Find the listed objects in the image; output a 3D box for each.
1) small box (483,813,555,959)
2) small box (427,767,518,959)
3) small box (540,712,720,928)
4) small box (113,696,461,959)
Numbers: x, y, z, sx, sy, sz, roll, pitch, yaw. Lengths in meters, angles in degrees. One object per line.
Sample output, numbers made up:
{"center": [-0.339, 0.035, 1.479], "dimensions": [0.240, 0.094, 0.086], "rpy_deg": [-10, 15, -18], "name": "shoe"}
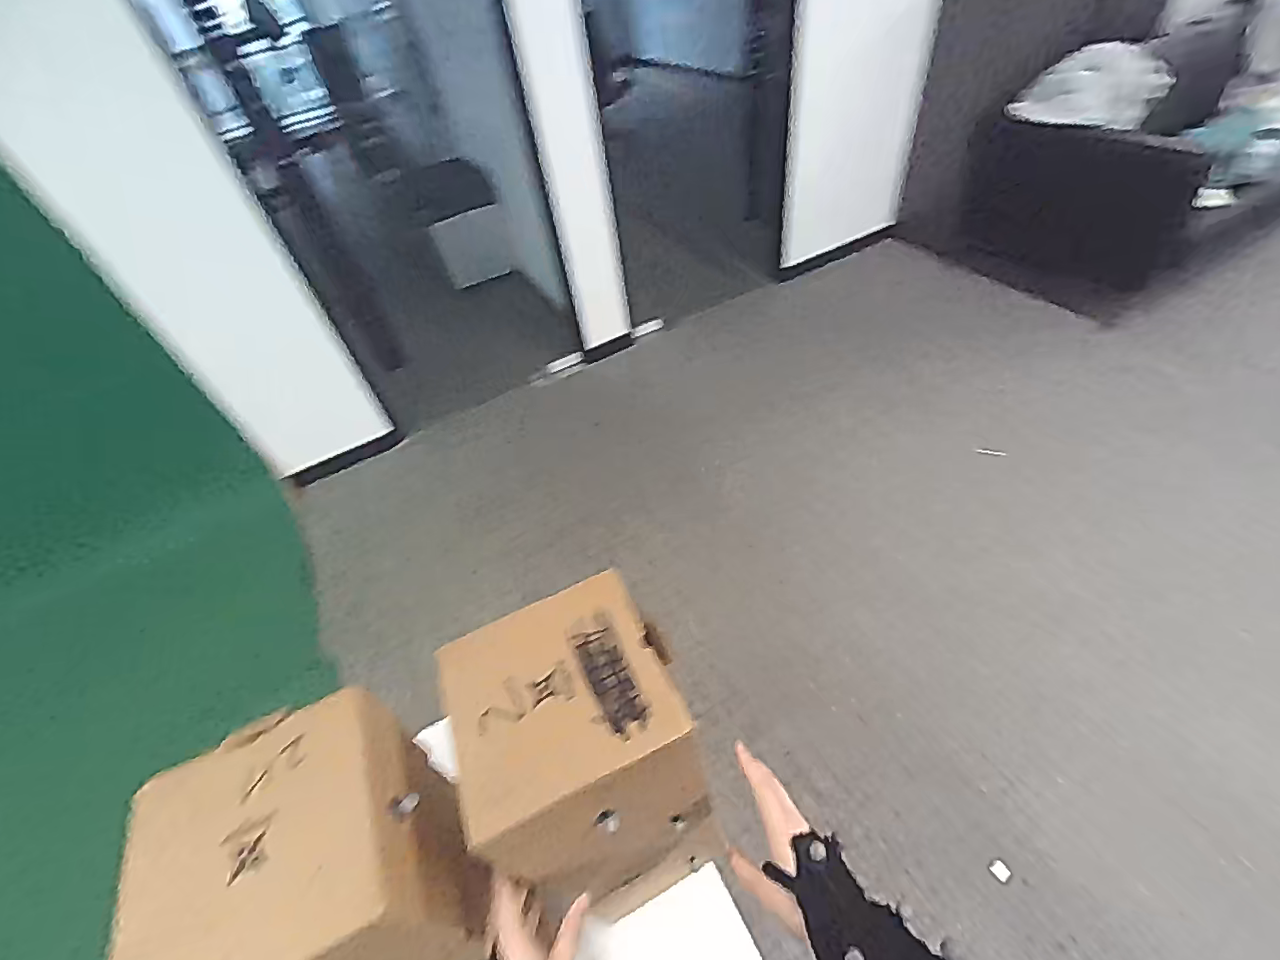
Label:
{"center": [-0.224, 0.554, 0.659], "dimensions": [0.179, 0.176, 0.168], "rpy_deg": [-23, 47, -15], "name": "small box"}
{"center": [-0.246, 0.436, 0.544], "dimensions": [0.179, 0.176, 0.168], "rpy_deg": [-24, 47, -15], "name": "small box"}
{"center": [-0.008, 0.452, 0.720], "dimensions": [0.179, 0.176, 0.168], "rpy_deg": [-26, 46, -12], "name": "small box"}
{"center": [-0.261, 0.317, 0.432], "dimensions": [0.168, 0.176, 0.179], "rpy_deg": [-23, 47, -16], "name": "small box"}
